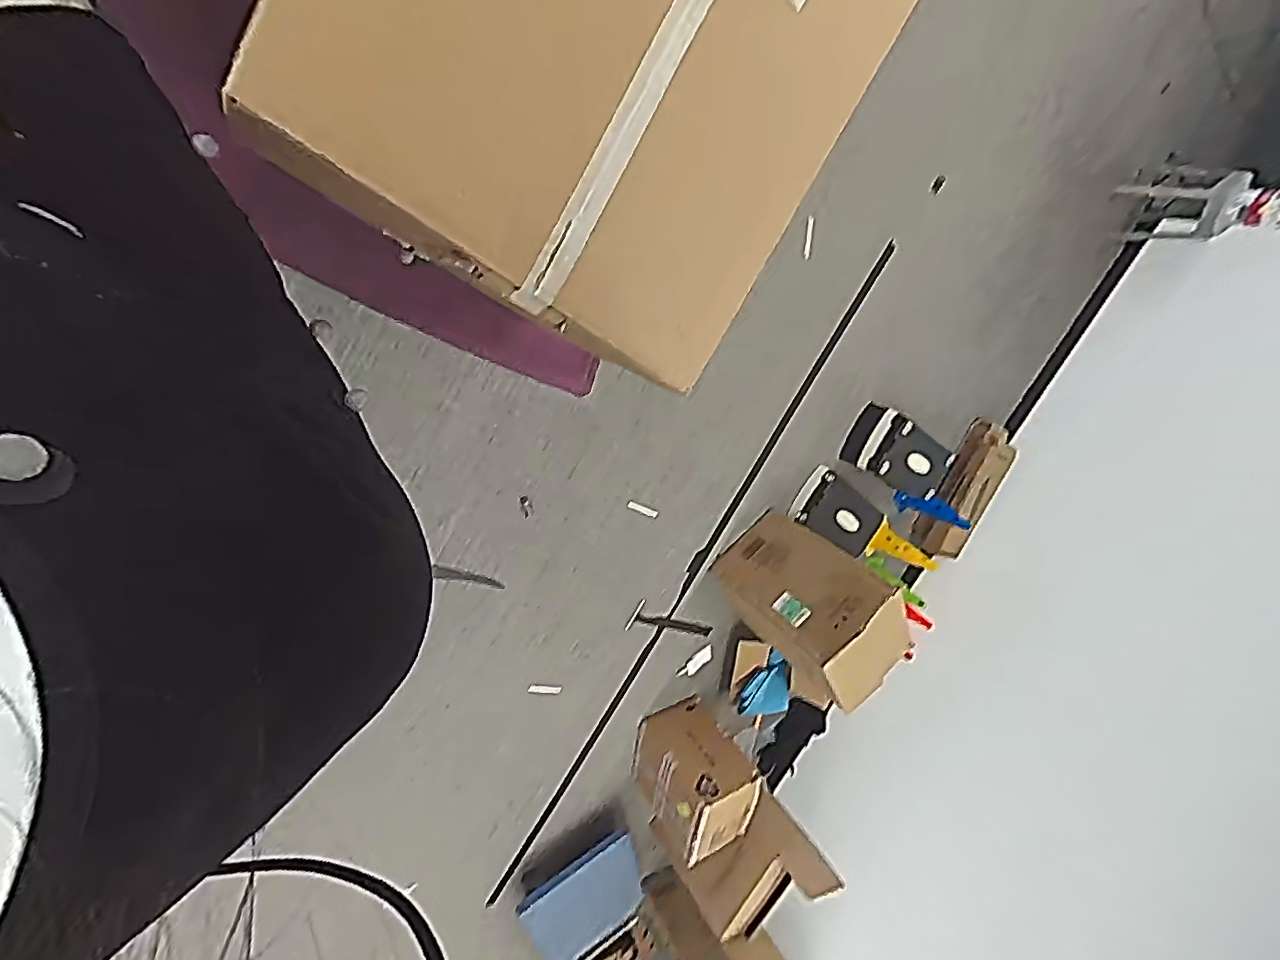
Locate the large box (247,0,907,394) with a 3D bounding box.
[{"bbox_3d":[-0.053,-0.339,0.419,0.320,0.320,0.408,24,97,-44],"label":"large box"}]
